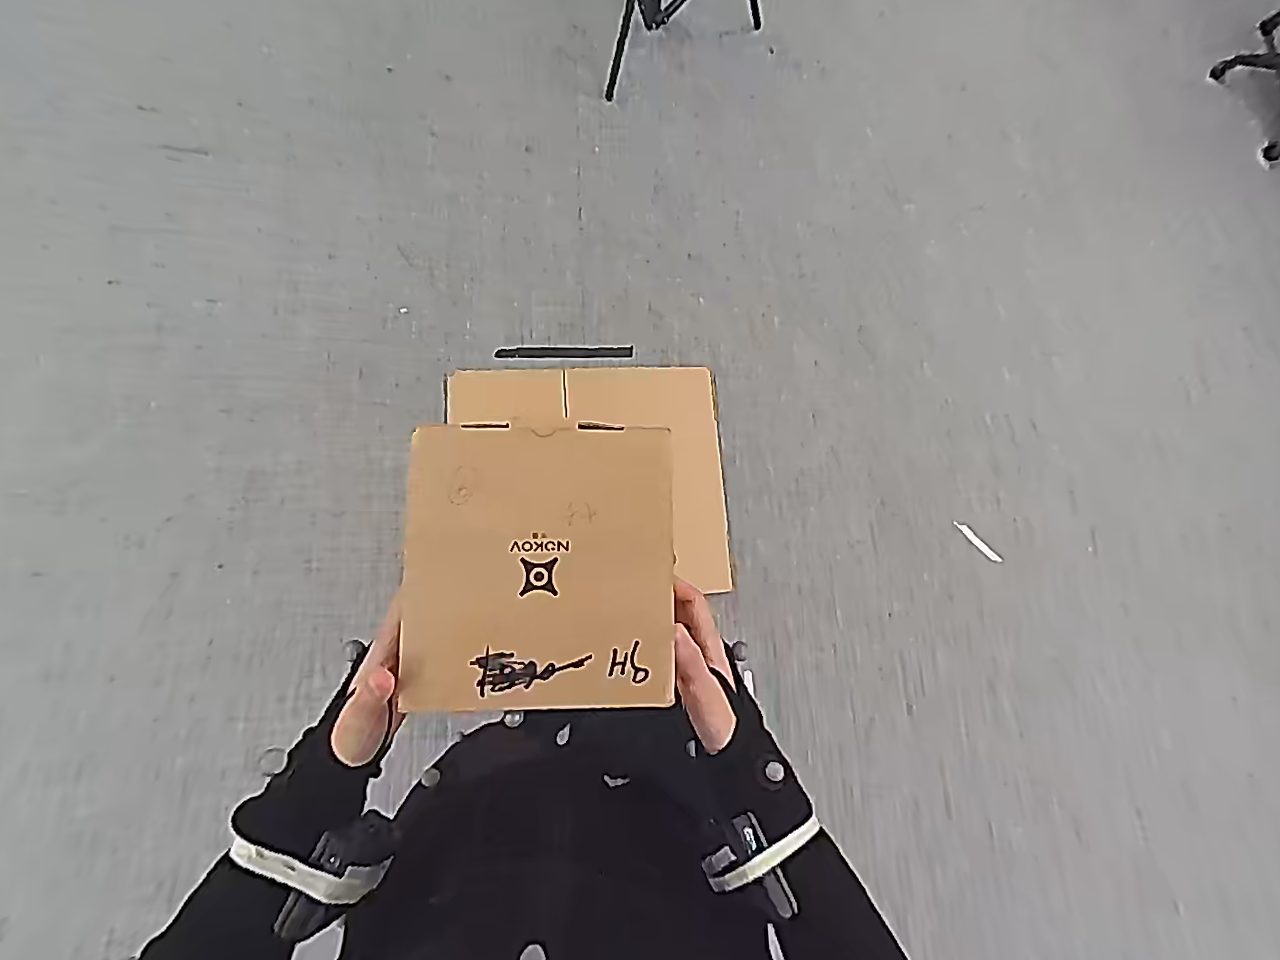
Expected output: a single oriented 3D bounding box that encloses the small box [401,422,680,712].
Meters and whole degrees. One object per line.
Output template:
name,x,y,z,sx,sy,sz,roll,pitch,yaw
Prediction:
small box,-0.061,0.063,0.410,0.168,0.176,0.179,-1,81,-2
